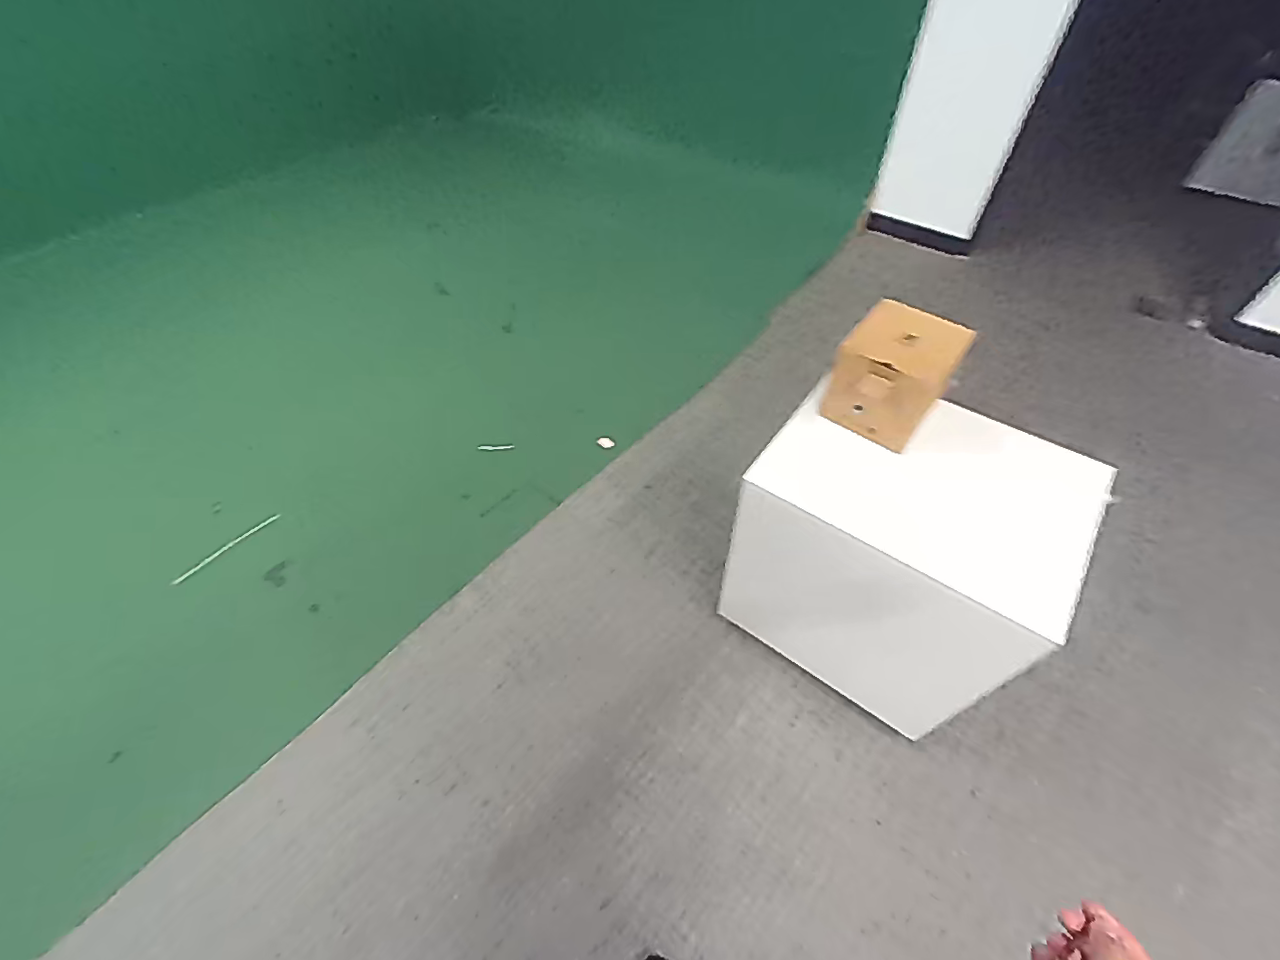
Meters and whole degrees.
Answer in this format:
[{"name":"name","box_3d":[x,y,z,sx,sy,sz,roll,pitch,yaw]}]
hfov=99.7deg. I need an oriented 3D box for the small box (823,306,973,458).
[{"name":"small box","box_3d":[0.455,-0.176,0.979,0.168,0.176,0.179,33,60,24]}]
